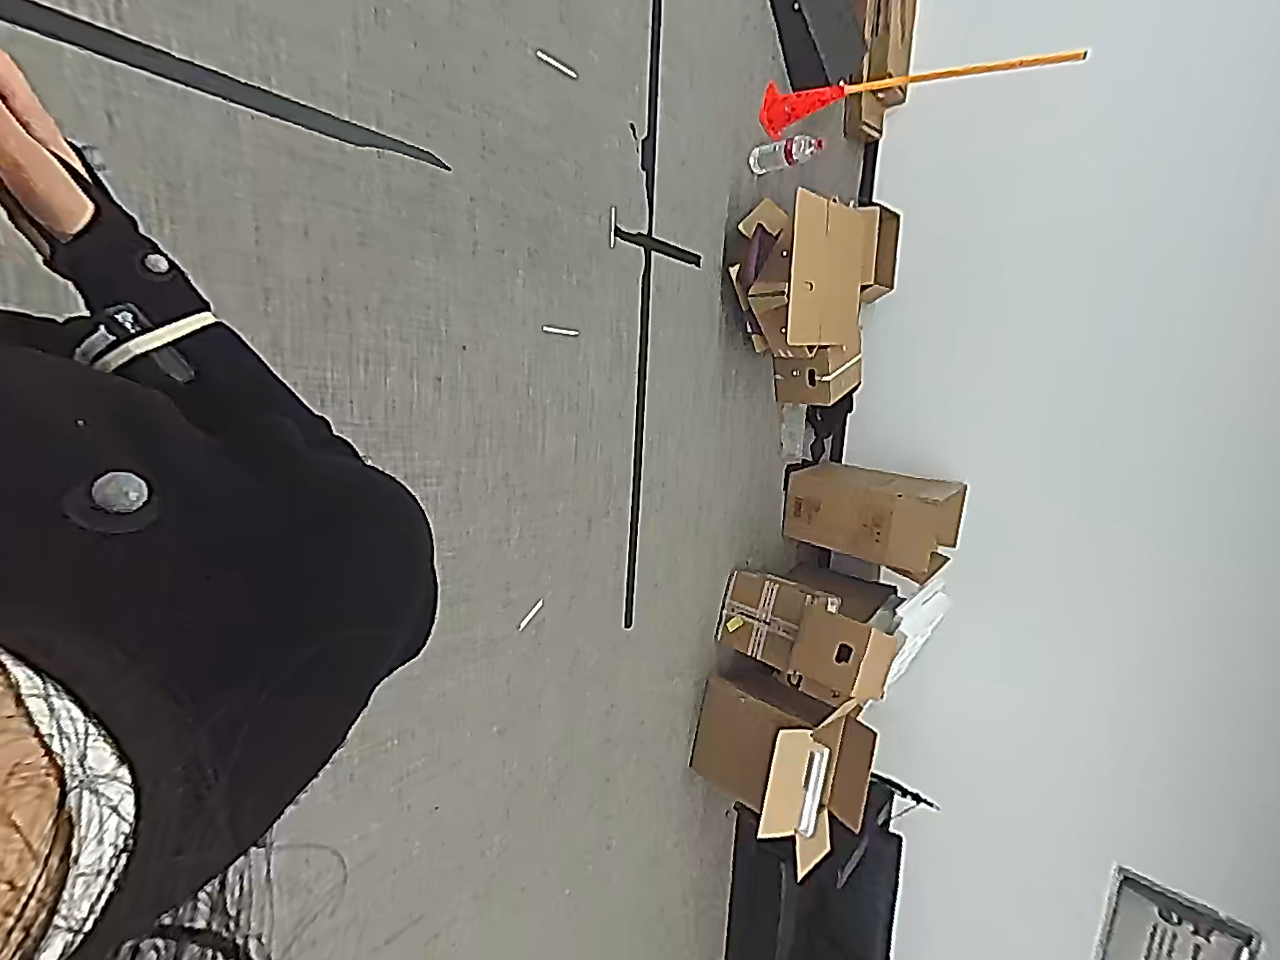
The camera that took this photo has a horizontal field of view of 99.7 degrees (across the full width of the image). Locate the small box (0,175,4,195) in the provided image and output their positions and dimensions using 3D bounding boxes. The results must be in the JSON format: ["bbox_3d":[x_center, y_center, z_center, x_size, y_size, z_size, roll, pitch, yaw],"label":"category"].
[{"bbox_3d":[-0.445,-0.210,0.244,0.168,0.176,0.179,-27,116,-46],"label":"small box"}]
